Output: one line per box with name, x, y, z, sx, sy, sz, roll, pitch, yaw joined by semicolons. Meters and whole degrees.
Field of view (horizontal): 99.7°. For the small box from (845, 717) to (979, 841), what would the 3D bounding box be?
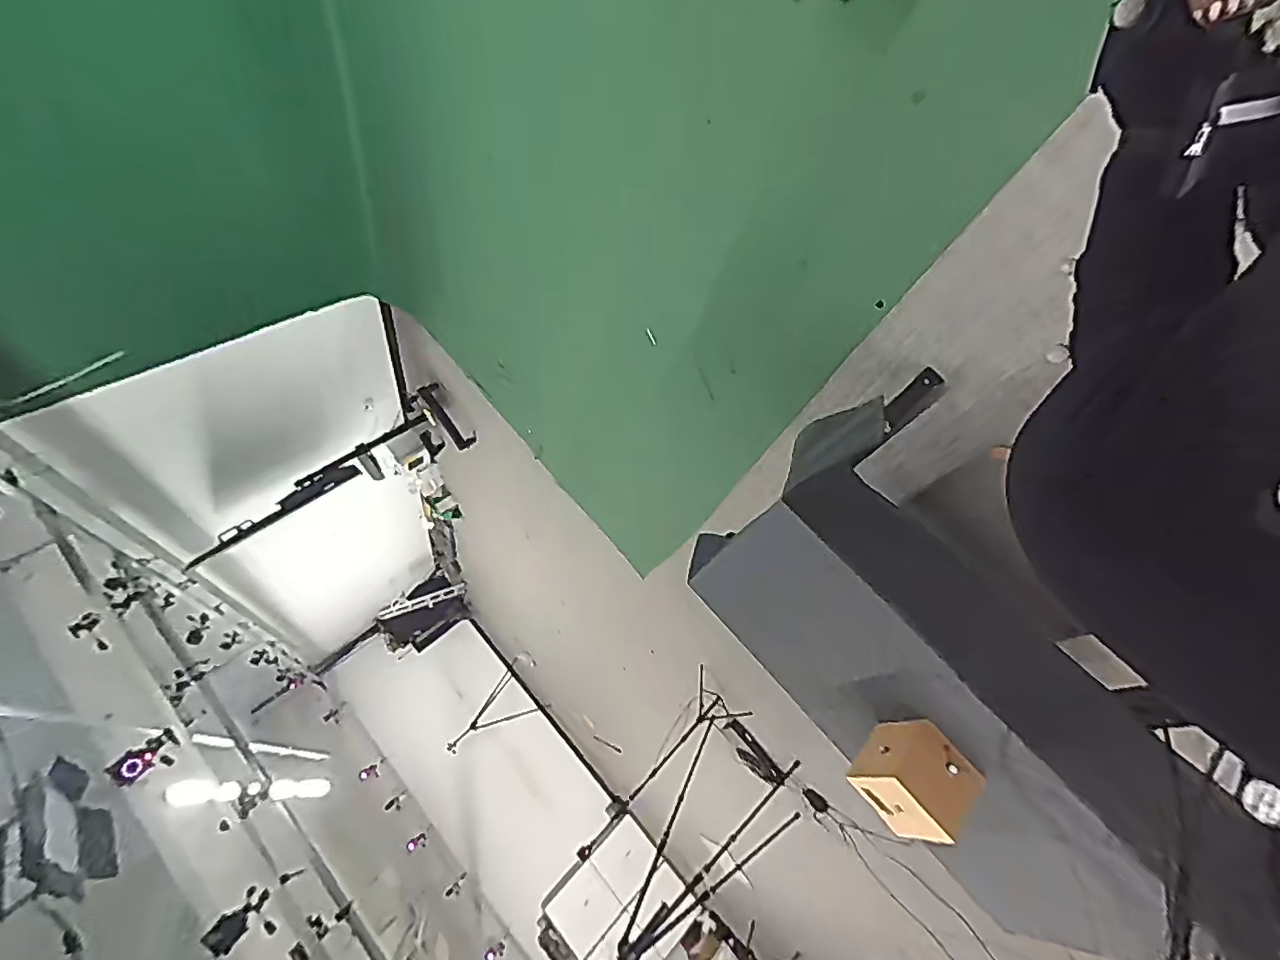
small box;0.604;0.655;1.201;0.168;0.176;0.179;48;149;10
